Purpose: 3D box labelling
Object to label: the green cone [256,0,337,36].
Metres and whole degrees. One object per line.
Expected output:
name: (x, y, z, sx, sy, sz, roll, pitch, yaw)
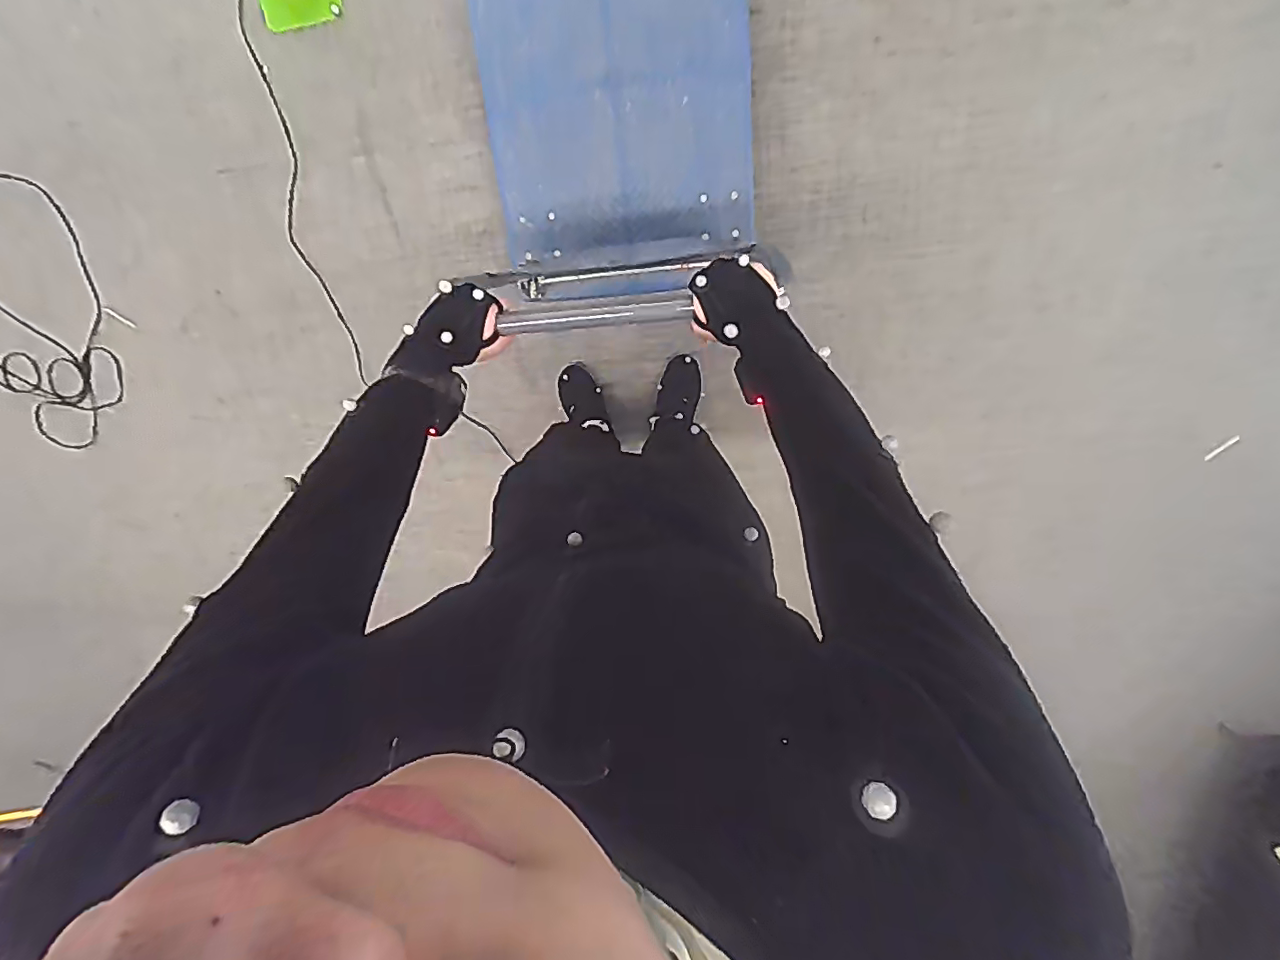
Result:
green cone: (-0.845, -1.128, 1.113, 0.202, 0.368, 0.200, -7, 109, 8)
